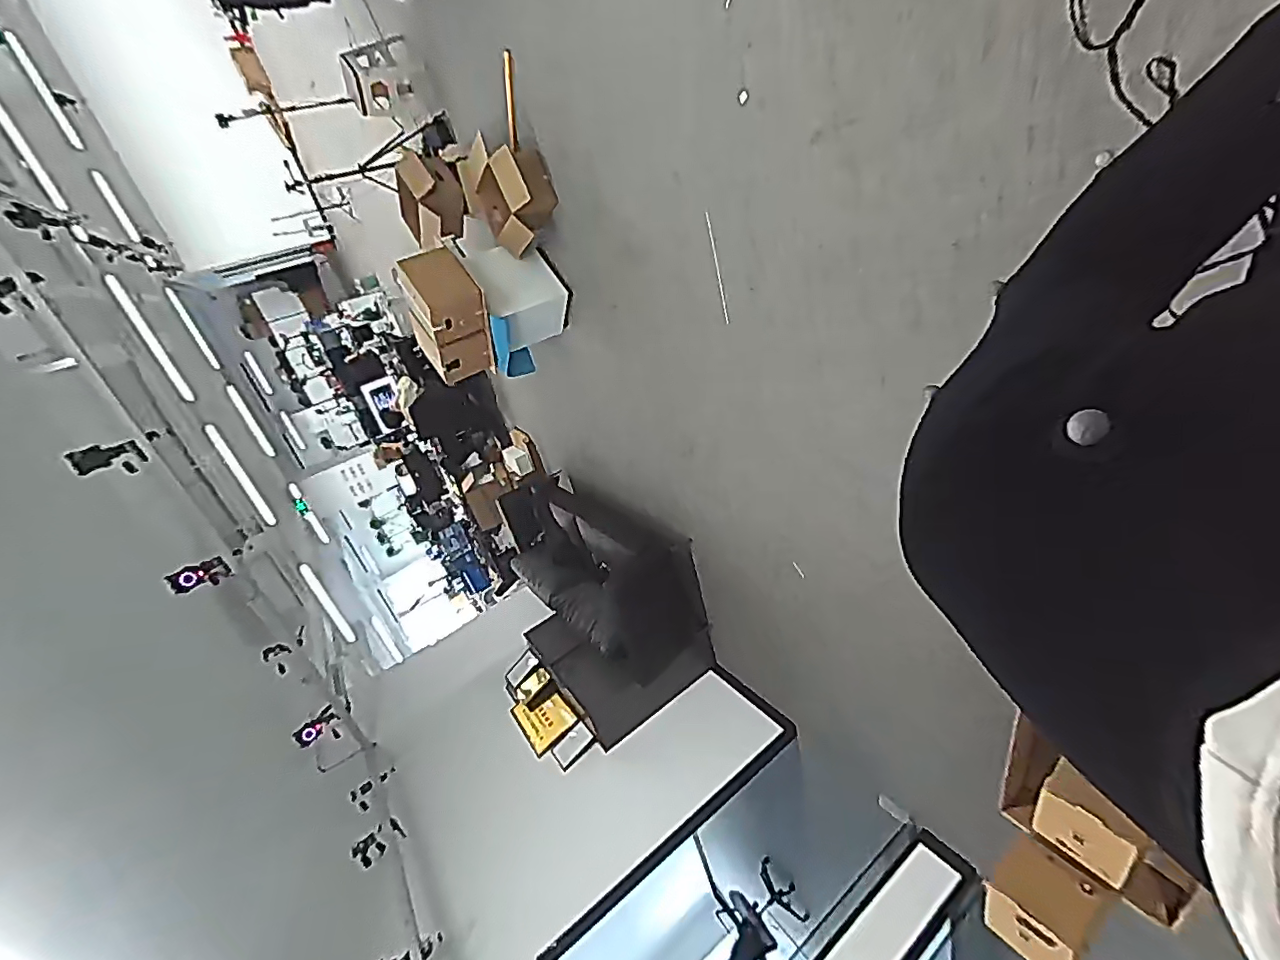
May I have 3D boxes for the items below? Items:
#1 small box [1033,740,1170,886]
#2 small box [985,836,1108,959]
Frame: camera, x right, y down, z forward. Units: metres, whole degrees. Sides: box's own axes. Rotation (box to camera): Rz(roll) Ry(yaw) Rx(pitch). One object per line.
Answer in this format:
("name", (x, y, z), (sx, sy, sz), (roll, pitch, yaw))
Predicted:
("small box", (0.999, 0.712, 1.174), (0.168, 0.176, 0.179), (30, 142, 50))
("small box", (0.916, 0.961, 1.221), (0.168, 0.176, 0.179), (26, 137, 53))
